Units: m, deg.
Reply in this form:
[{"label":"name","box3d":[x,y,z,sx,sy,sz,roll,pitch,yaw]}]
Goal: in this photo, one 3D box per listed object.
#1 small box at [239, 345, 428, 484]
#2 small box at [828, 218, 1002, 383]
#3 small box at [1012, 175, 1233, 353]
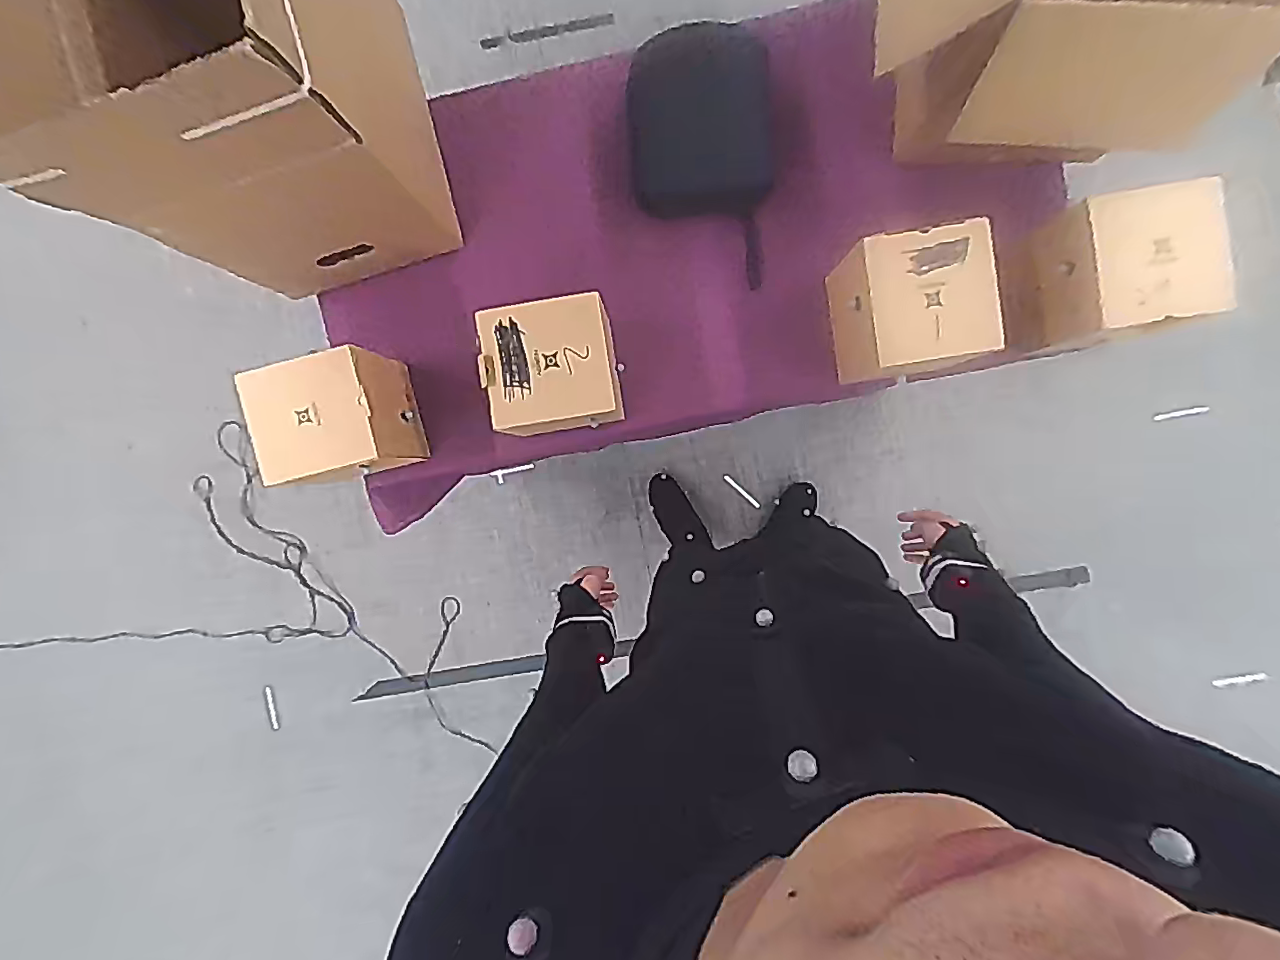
[{"label":"small box","box3d":[-0.462,-0.092,0.840,0.179,0.176,0.168,-15,91,2]},{"label":"small box","box3d":[0.387,-0.249,0.790,0.168,0.176,0.179,-9,92,3]},{"label":"small box","box3d":[0.668,-0.294,0.772,0.168,0.176,0.179,-8,91,4]}]
